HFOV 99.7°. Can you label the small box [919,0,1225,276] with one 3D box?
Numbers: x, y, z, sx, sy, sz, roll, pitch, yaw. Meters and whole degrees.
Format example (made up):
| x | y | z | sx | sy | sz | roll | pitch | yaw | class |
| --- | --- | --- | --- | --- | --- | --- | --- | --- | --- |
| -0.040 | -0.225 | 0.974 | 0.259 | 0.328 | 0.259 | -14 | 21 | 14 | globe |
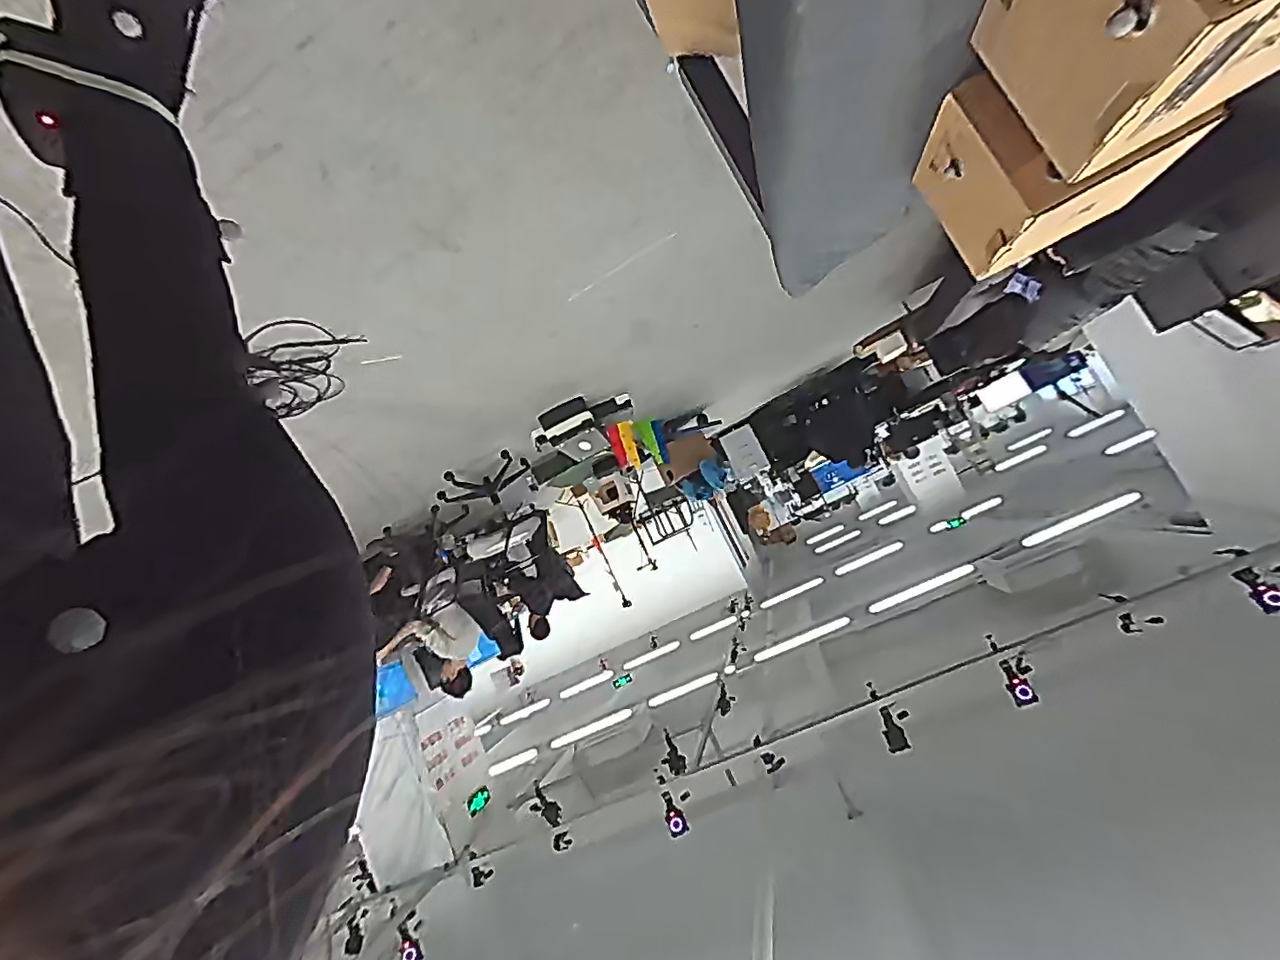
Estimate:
| x | y | z | sx | sy | sz | roll | pitch | yaw | class |
| --- | --- | --- | --- | --- | --- | --- | --- | --- | --- |
| 0.450 | -0.370 | 0.600 | 0.179 | 0.176 | 0.168 | -27 | 172 | 14 | small box |
